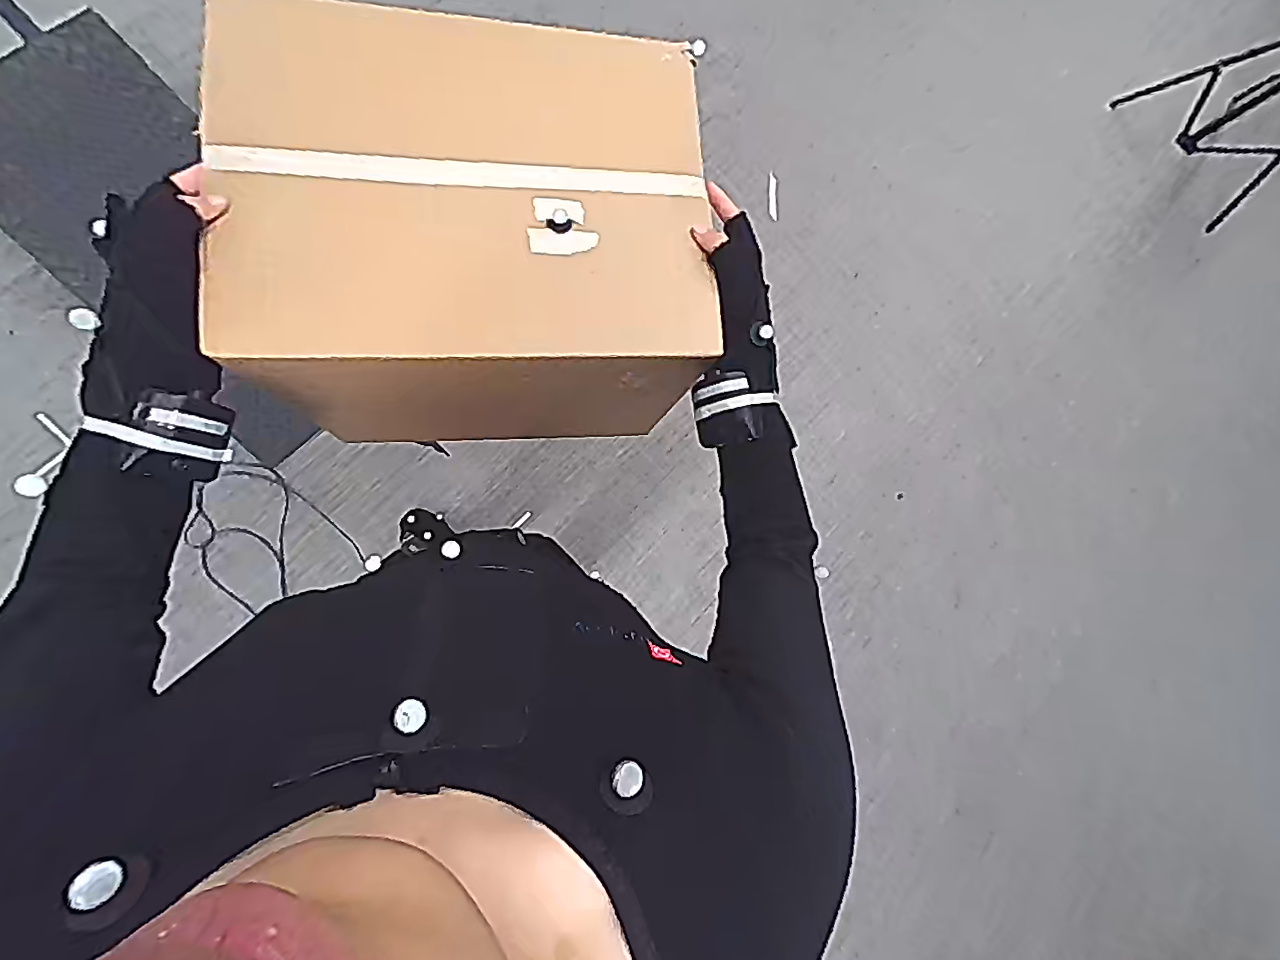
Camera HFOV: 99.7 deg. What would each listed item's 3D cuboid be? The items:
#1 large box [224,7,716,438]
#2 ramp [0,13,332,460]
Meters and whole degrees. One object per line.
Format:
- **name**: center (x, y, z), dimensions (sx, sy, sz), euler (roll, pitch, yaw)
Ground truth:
- **large box**: center (-0.168, -0.240, 0.616), dimensions (0.408, 0.320, 0.320), euler (-4, 82, -12)
- **ramp**: center (-1.082, -0.571, 1.332), dimensions (0.991, 0.206, 0.509), euler (44, 78, -3)
